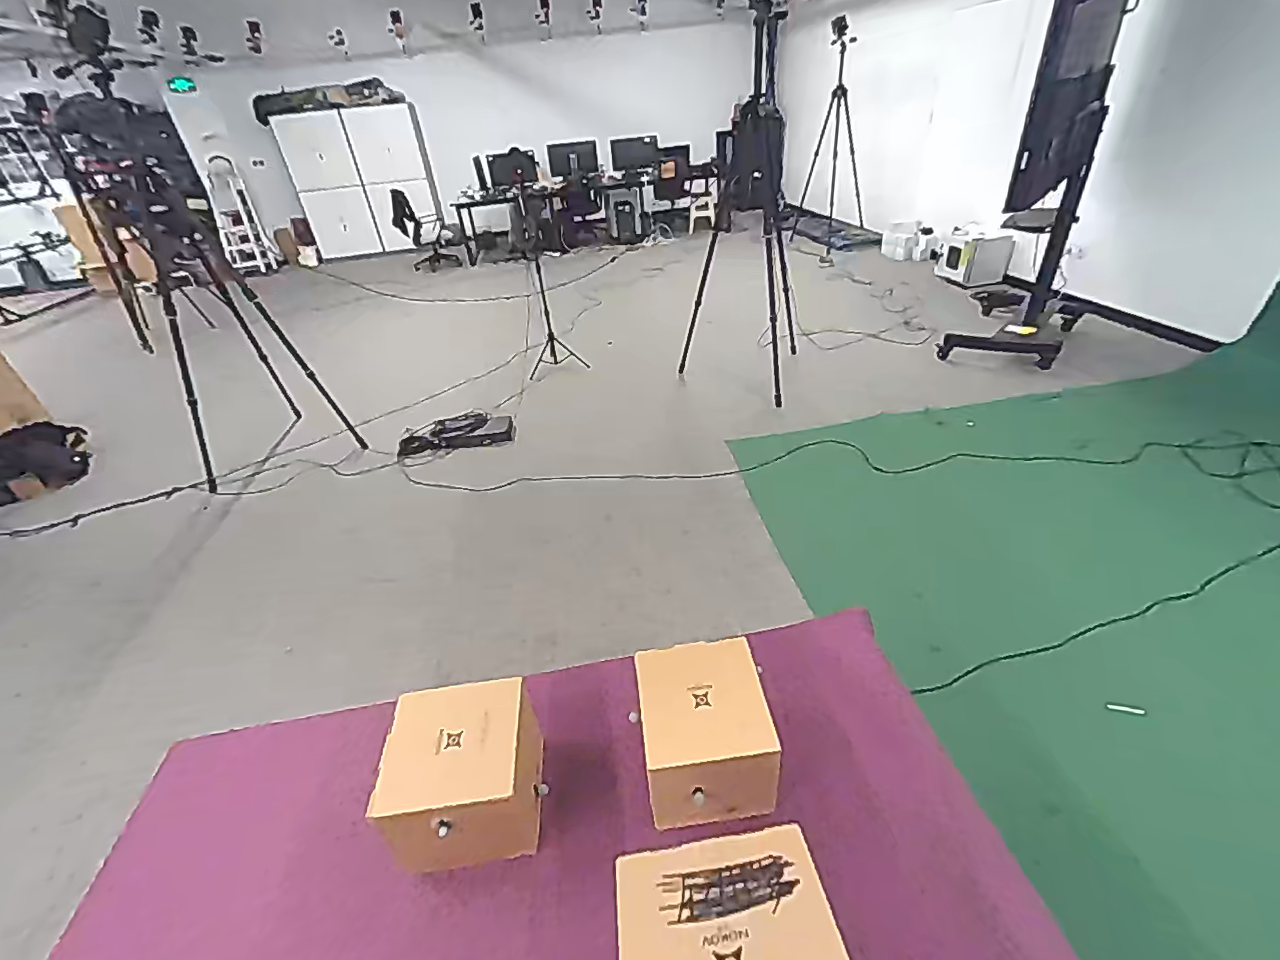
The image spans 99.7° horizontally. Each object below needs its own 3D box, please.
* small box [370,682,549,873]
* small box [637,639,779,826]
[{"bbox_3d":[-0.232,0.410,0.745,0.179,0.176,0.168,-7,35,-2],"label":"small box"},{"bbox_3d":[0.092,0.358,0.761,0.168,0.176,0.179,-8,33,-1],"label":"small box"}]
